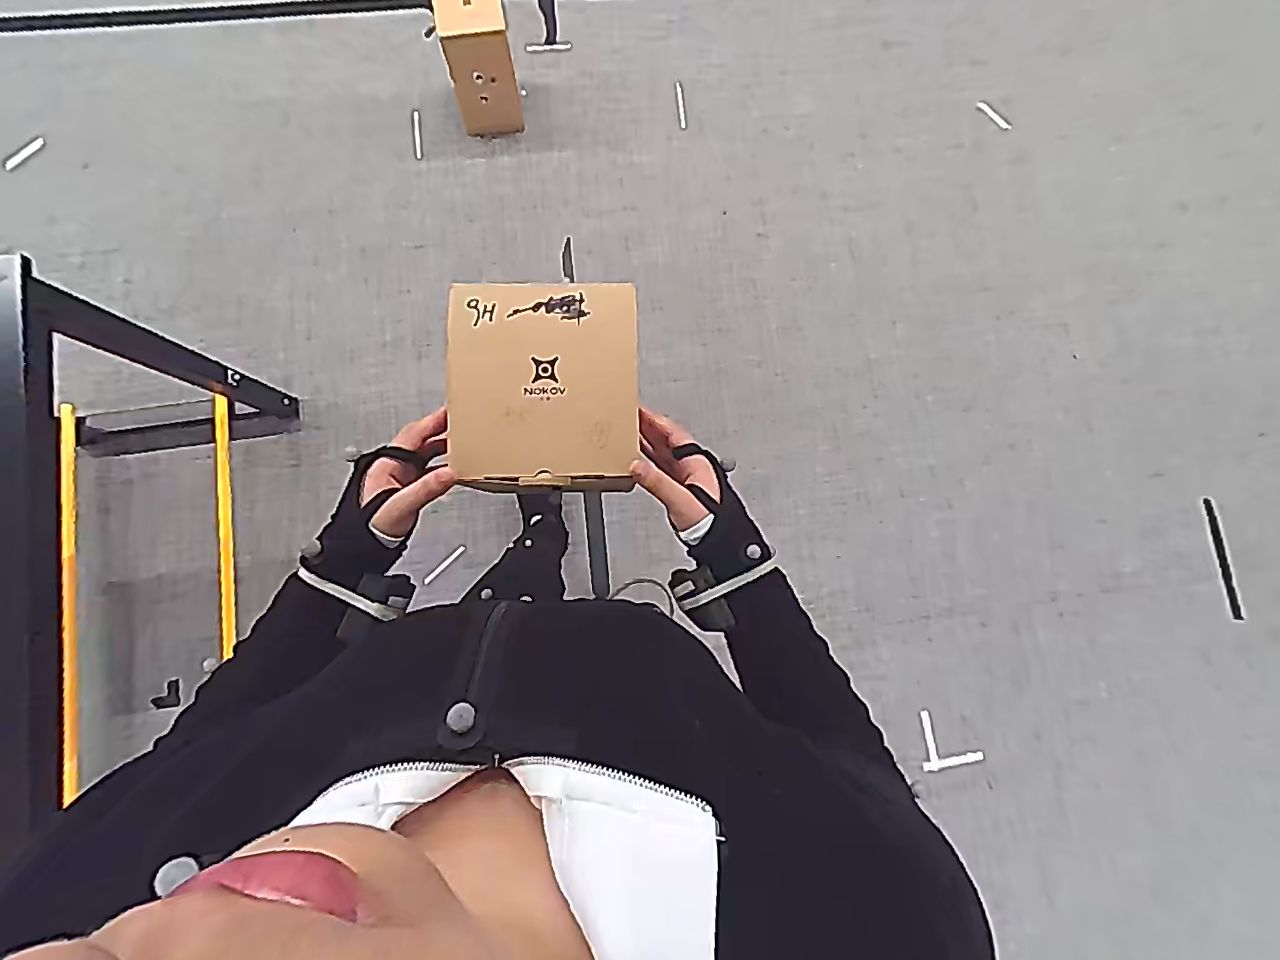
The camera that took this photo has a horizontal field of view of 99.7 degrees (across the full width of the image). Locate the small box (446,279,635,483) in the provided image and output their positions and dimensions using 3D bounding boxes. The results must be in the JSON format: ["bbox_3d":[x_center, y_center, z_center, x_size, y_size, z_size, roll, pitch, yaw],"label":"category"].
[{"bbox_3d":[-0.088,-0.086,0.550,0.168,0.176,0.179,-1,86,-2],"label":"small box"}]

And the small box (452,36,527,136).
[{"bbox_3d":[-0.432,-1.124,1.553,0.179,0.176,0.168,-8,84,-5],"label":"small box"}]

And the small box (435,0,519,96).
[{"bbox_3d":[-0.418,-1.142,1.392,0.168,0.176,0.179,-11,85,-3],"label":"small box"}]
